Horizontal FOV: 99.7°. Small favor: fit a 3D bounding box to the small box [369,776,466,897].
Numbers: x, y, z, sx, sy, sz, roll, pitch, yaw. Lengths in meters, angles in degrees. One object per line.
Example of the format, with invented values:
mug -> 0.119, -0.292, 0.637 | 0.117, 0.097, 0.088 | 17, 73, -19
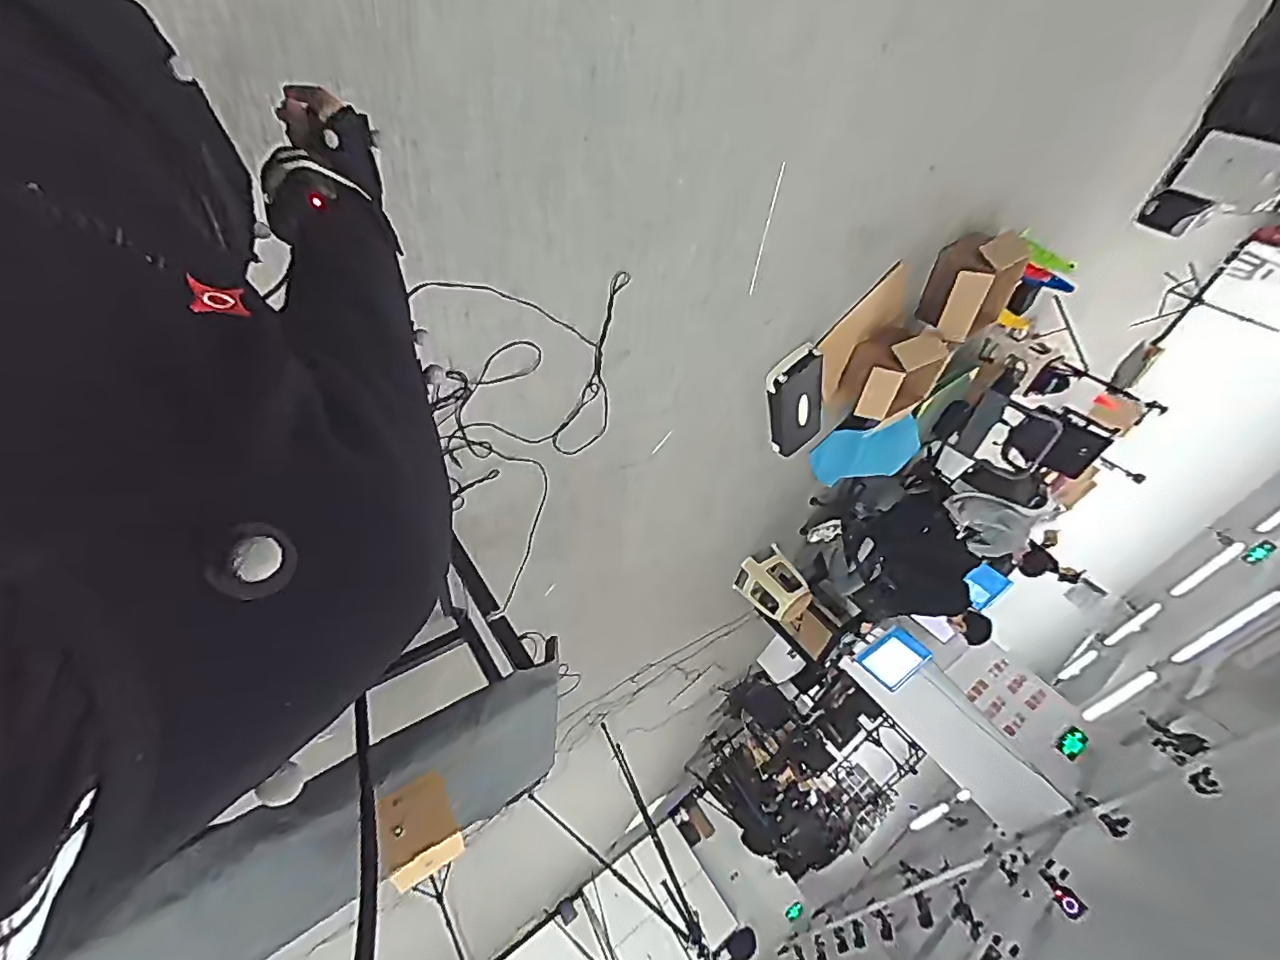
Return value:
small box -> -0.545, 0.867, 1.328 | 0.168, 0.176, 0.179 | -21, 142, -30
